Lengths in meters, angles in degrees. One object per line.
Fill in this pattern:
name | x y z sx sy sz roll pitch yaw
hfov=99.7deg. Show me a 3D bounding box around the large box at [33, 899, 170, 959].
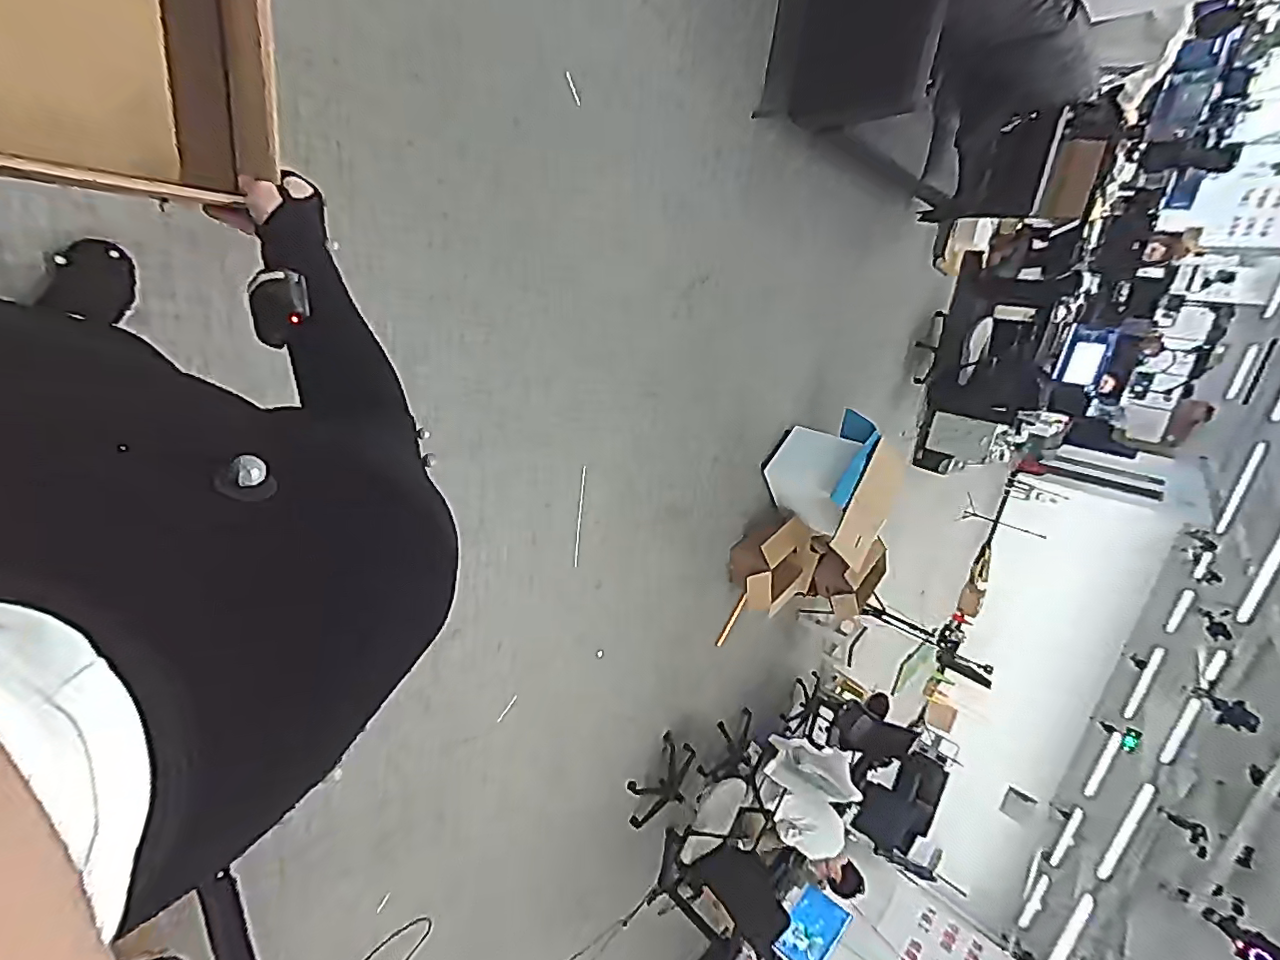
large box | -1.436 1.456 1.430 0.320 0.320 0.408 -14 118 -43
